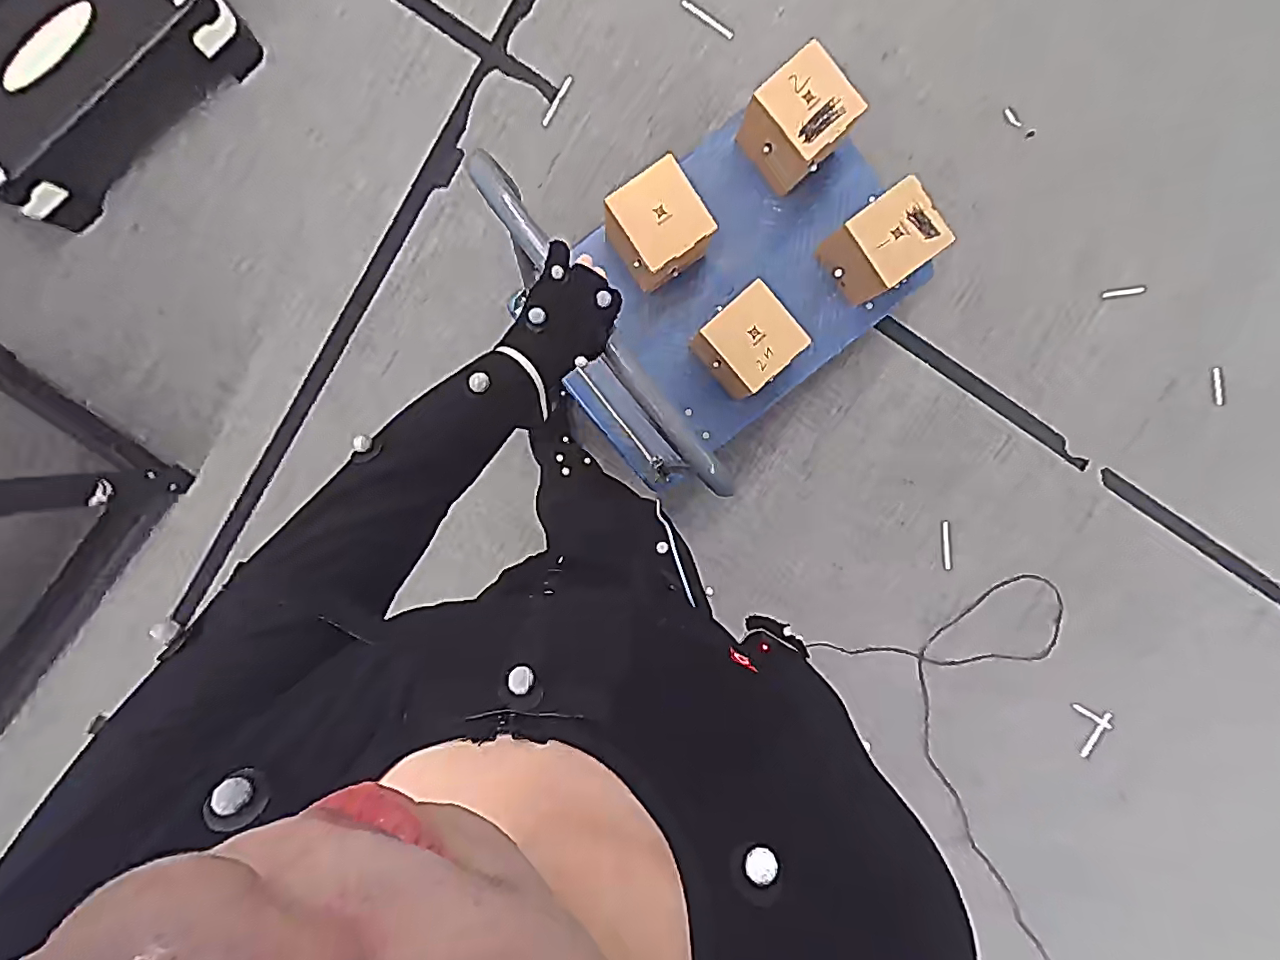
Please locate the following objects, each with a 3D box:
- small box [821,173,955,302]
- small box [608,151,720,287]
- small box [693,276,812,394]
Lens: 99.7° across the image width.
[{"bbox_3d":[0.535,-0.522,1.191,0.179,0.176,0.168,-36,96,1],"label":"small box"},{"bbox_3d":[0.042,-0.547,1.161,0.168,0.176,0.179,-35,97,0],"label":"small box"},{"bbox_3d":[0.237,-0.308,1.191,0.168,0.176,0.179,-41,96,1],"label":"small box"}]
